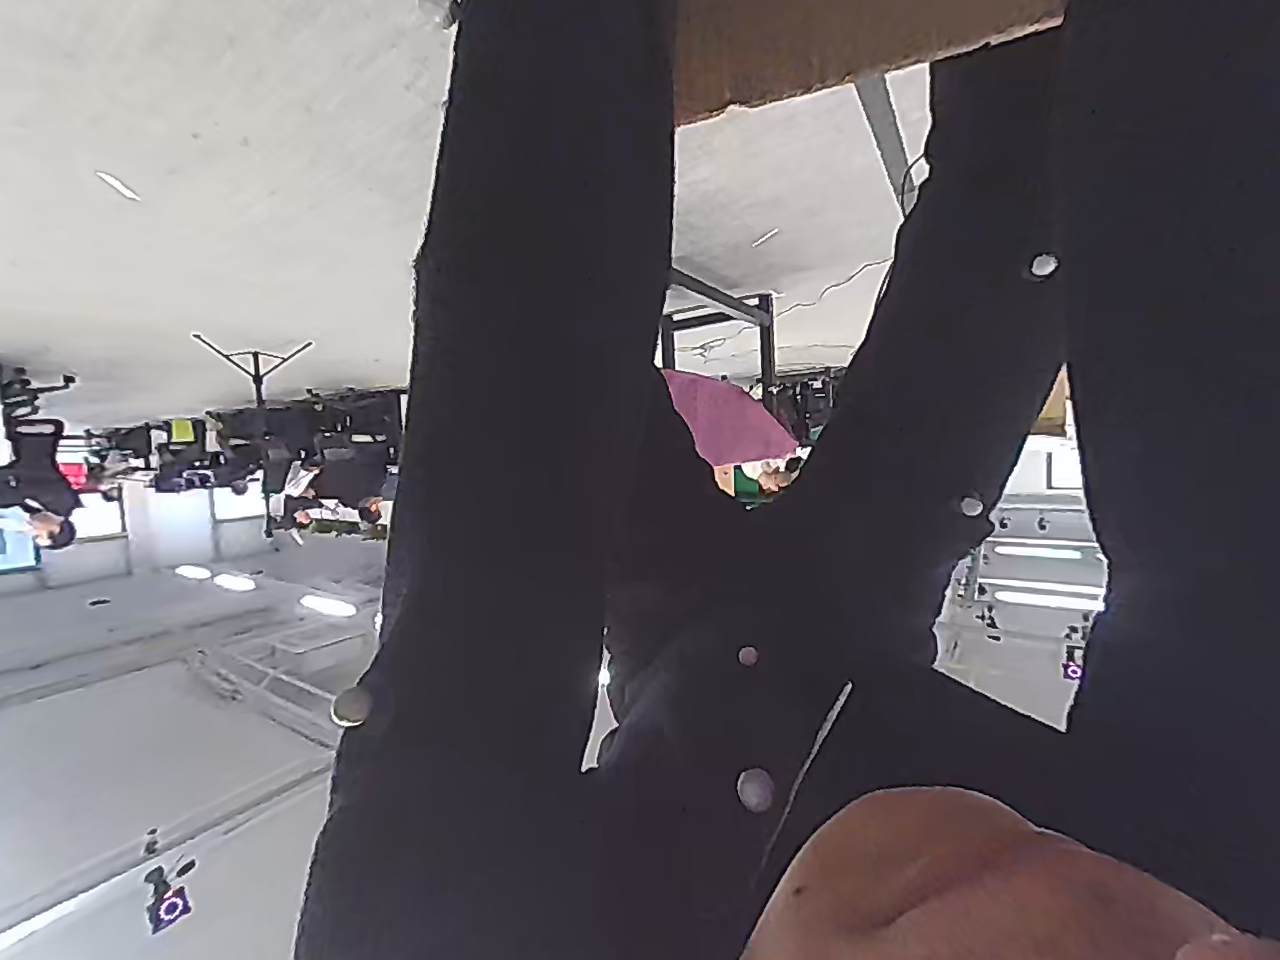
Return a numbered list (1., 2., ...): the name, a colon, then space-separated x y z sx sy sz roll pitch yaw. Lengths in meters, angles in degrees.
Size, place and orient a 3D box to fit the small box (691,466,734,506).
1. small box: 0.304 0.021 2.410 0.179 0.176 0.168 -1 -176 37
